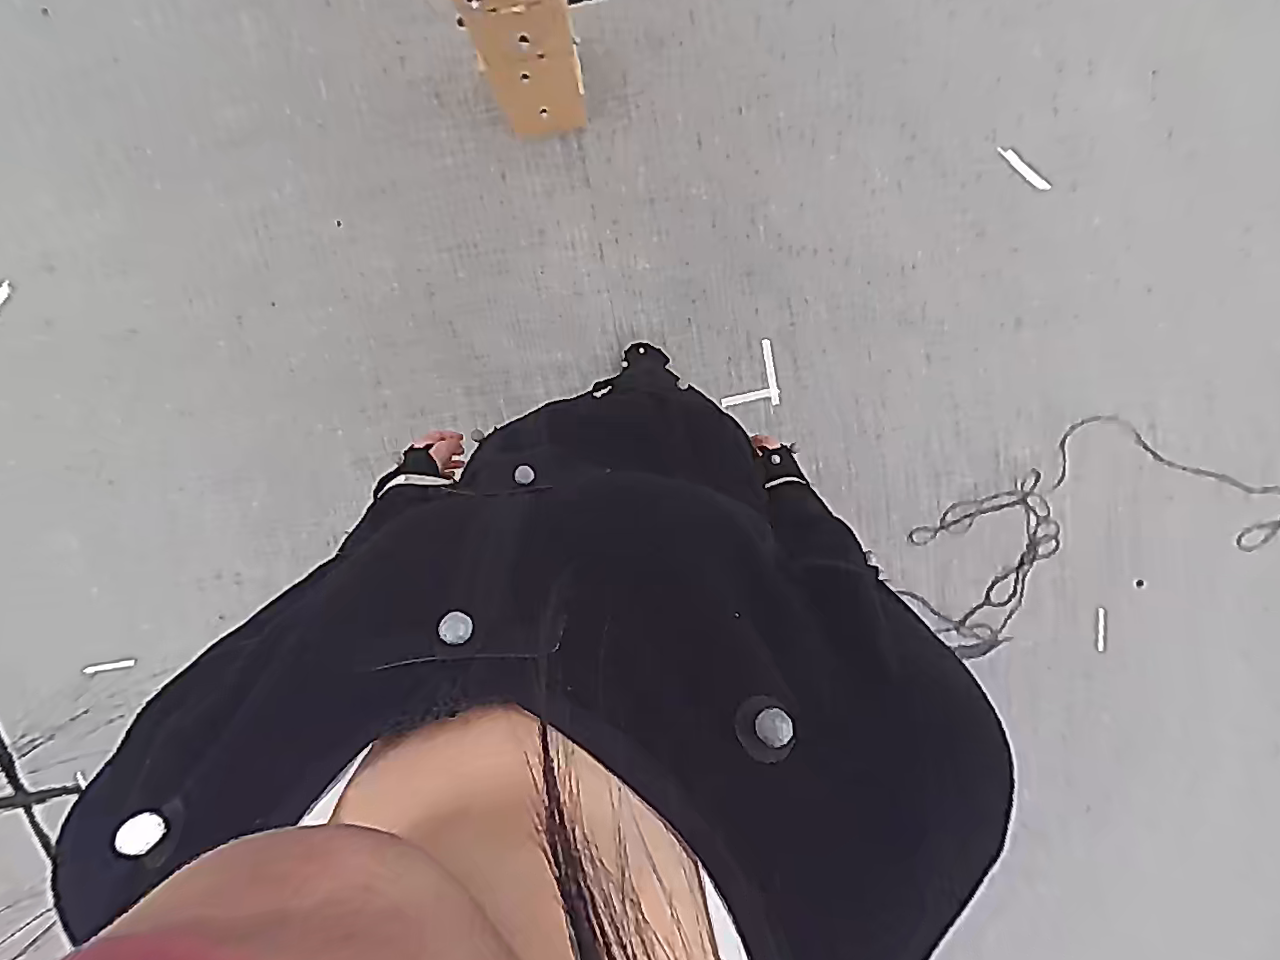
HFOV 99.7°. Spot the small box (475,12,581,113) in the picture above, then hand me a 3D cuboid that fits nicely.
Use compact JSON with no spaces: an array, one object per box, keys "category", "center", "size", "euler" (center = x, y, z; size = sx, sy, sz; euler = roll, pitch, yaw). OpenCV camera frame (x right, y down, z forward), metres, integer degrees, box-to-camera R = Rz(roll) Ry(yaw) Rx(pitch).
[{"category":"small box","center":[-0.220,-0.853,1.061],"size":[0.179,0.176,0.168],"euler":[-7,103,1]}]

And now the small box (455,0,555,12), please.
[{"category":"small box","center":[-0.209,-0.790,0.740],"size":[0.168,0.176,0.179],"euler":[-9,101,1]}]

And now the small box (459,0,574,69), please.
[{"category":"small box","center":[-0.209,-0.822,0.901],"size":[0.168,0.176,0.179],"euler":[-8,103,1]}]

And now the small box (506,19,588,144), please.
[{"category":"small box","center":[-0.217,-0.892,1.221],"size":[0.179,0.176,0.168],"euler":[-10,102,1]}]
